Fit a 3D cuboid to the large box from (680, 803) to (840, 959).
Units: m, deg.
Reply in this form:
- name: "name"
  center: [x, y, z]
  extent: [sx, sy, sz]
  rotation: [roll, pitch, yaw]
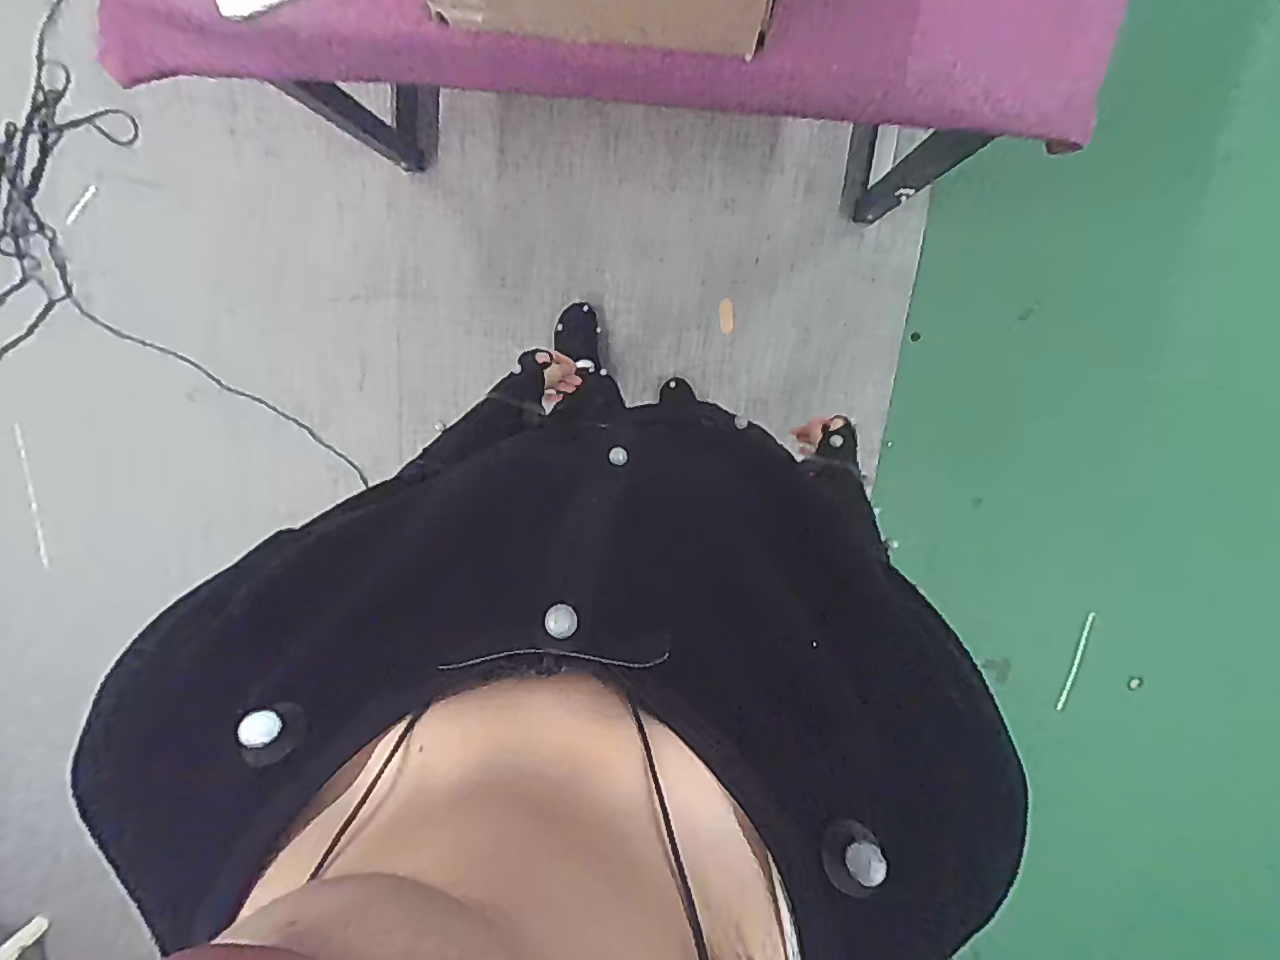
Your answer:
- name: "large box"
  center: [0.345, 1.232, 1.619]
  extent: [0.408, 0.320, 0.320]
  rotation: [-8, 103, 4]

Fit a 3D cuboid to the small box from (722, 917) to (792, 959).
- name: "small box"
  center: [0.299, 1.259, 1.376]
  extent: [0.168, 0.176, 0.179]
  rotation: [-2, 102, 5]
